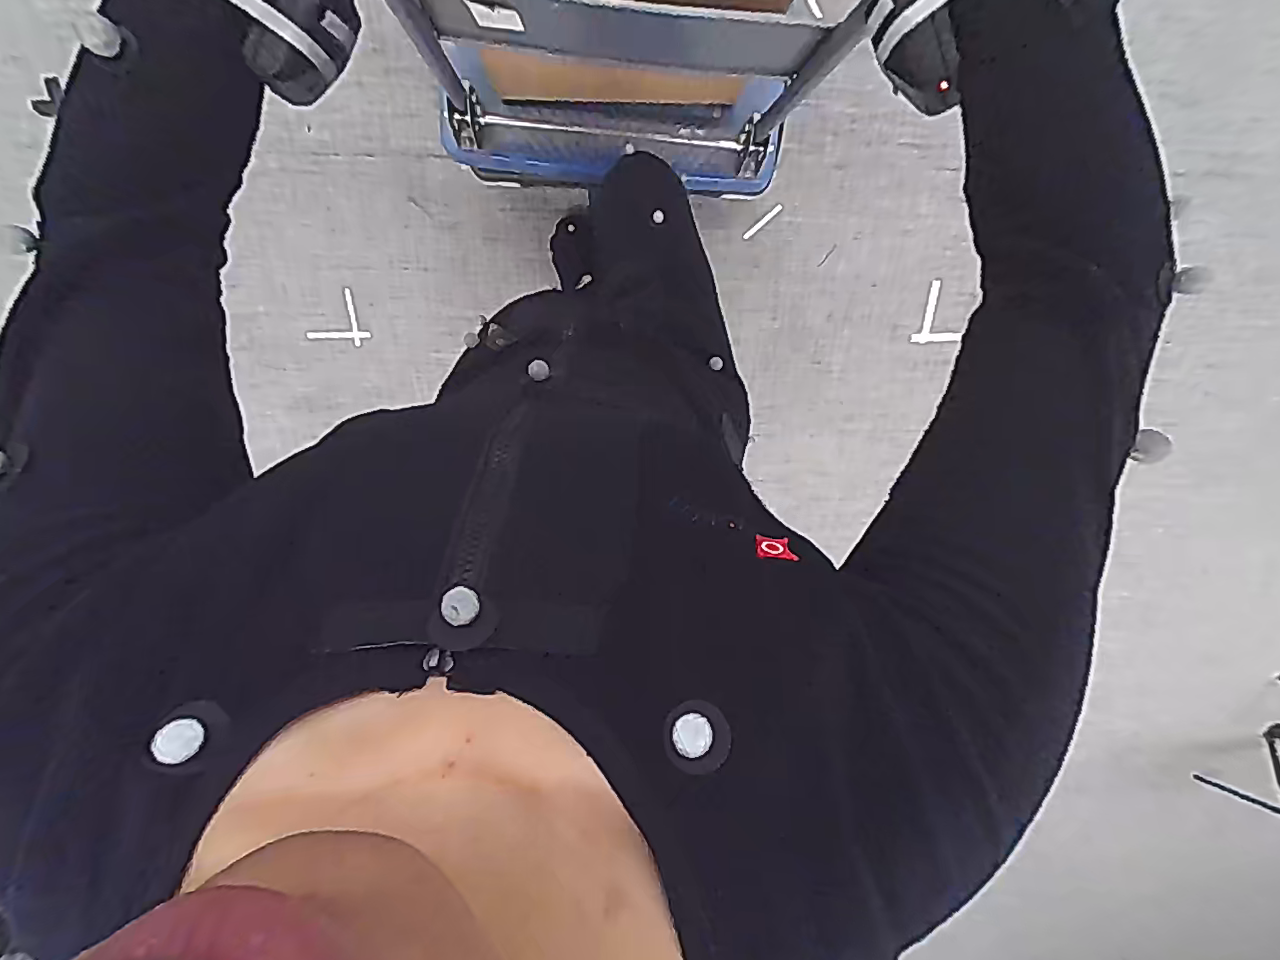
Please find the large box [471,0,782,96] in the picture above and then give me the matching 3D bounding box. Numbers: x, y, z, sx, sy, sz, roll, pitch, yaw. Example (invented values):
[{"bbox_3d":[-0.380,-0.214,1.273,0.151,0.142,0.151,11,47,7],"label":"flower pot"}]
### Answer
[{"bbox_3d":[-0.029,-0.768,0.741,0.408,0.320,0.320,-3,105,-5],"label":"large box"}]
